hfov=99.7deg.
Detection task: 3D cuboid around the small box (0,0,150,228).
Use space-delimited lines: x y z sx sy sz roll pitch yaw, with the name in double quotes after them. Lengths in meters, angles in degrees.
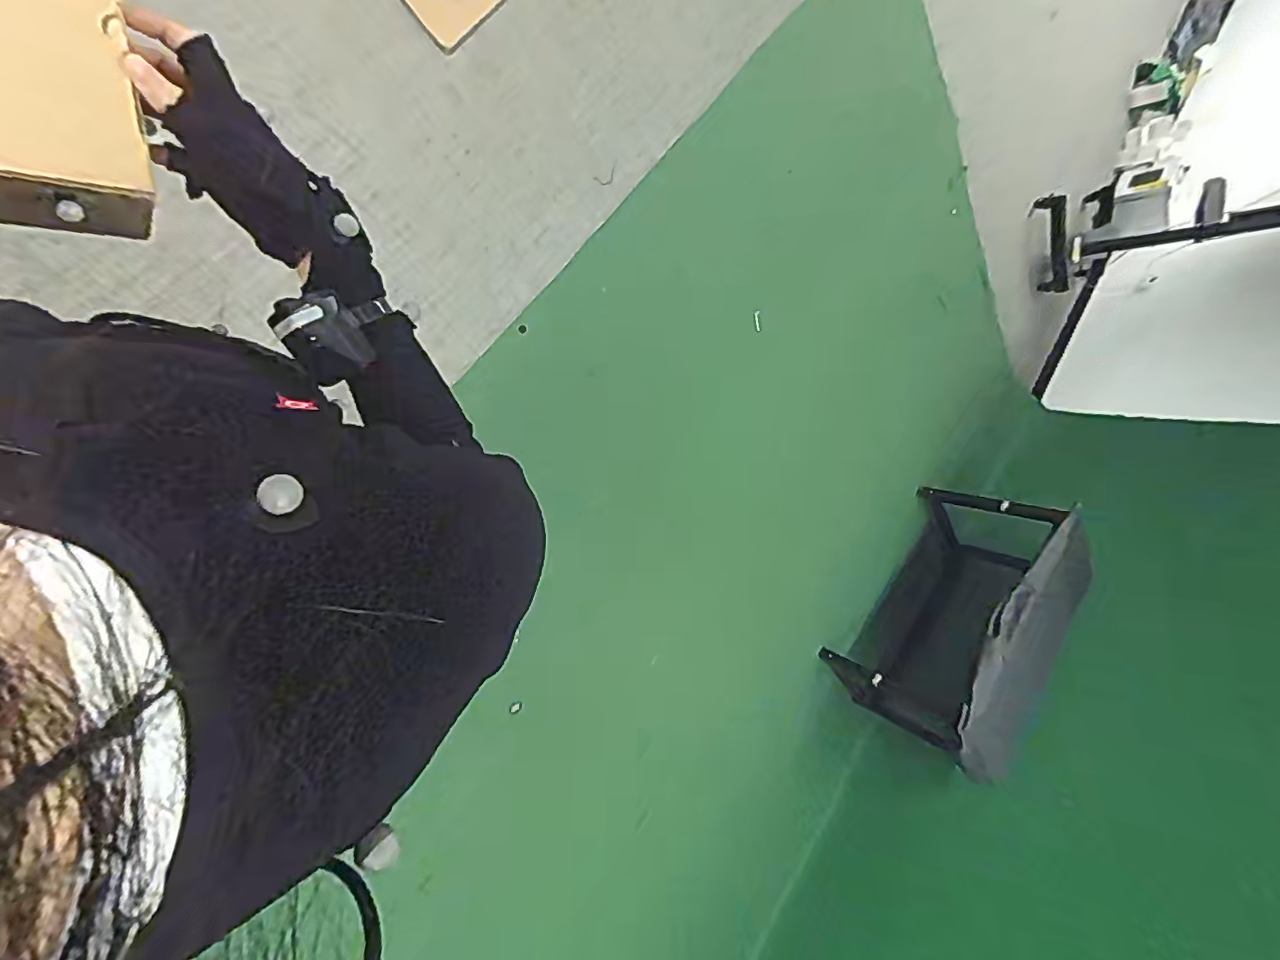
-0.402 -0.250 0.299 0.179 0.176 0.168 -12 107 -42 "small box"
